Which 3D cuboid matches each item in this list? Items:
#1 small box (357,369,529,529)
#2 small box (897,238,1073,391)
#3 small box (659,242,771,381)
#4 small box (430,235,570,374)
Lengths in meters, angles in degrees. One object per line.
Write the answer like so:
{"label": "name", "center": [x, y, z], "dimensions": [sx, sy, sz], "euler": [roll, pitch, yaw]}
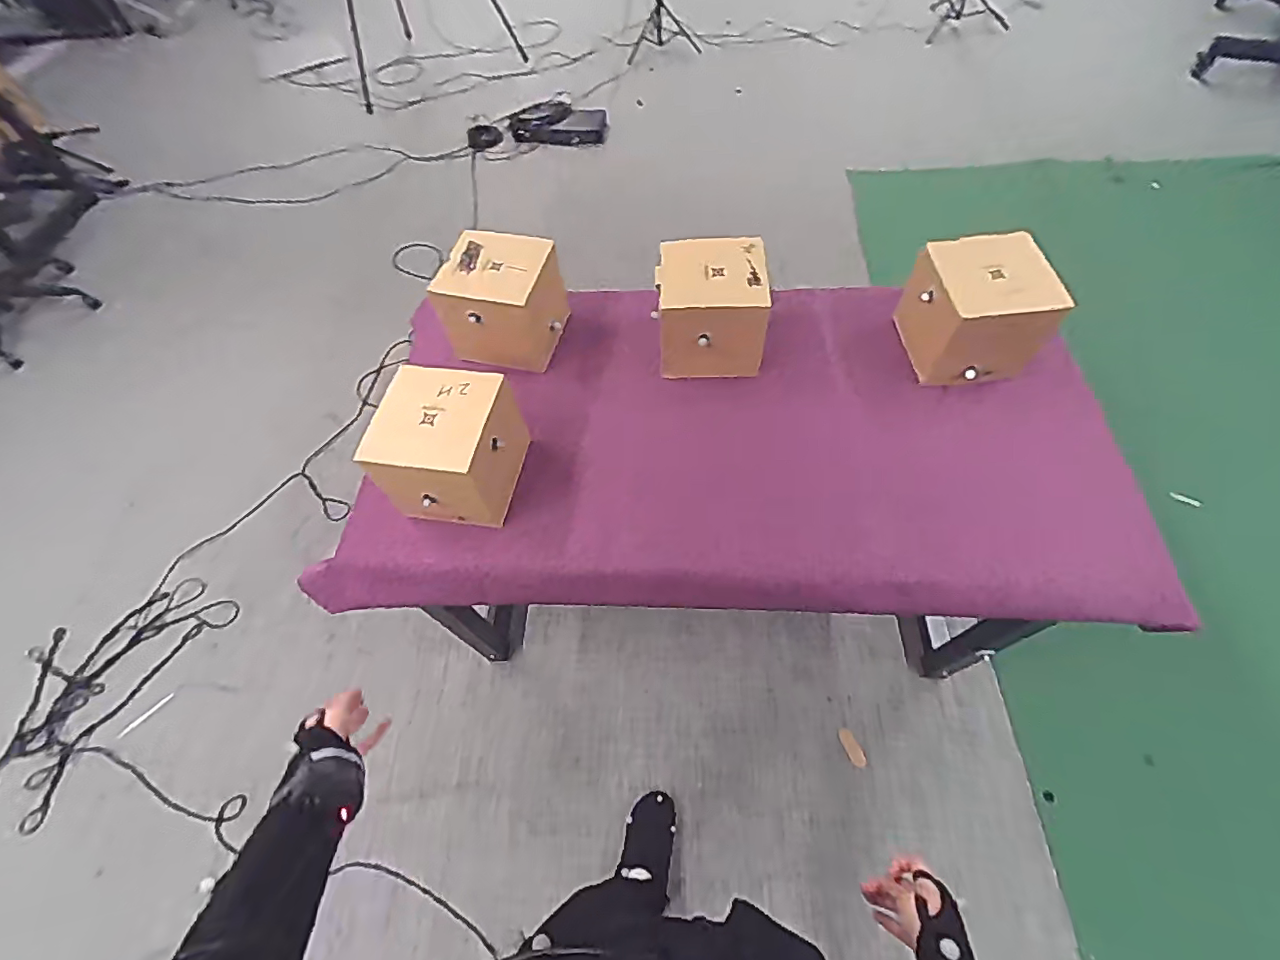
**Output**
{"label": "small box", "center": [-0.282, -0.041, 0.822], "dimensions": [0.168, 0.176, 0.179], "euler": [7, 59, 7]}
{"label": "small box", "center": [0.557, -0.272, 0.906], "dimensions": [0.168, 0.176, 0.179], "euler": [-5, 60, 3]}
{"label": "small box", "center": [0.125, -0.287, 0.945], "dimensions": [0.179, 0.176, 0.168], "euler": [-1, 61, 4]}
{"label": "small box", "center": [-0.242, -0.314, 0.984], "dimensions": [0.179, 0.176, 0.168], "euler": [11, 61, 9]}
